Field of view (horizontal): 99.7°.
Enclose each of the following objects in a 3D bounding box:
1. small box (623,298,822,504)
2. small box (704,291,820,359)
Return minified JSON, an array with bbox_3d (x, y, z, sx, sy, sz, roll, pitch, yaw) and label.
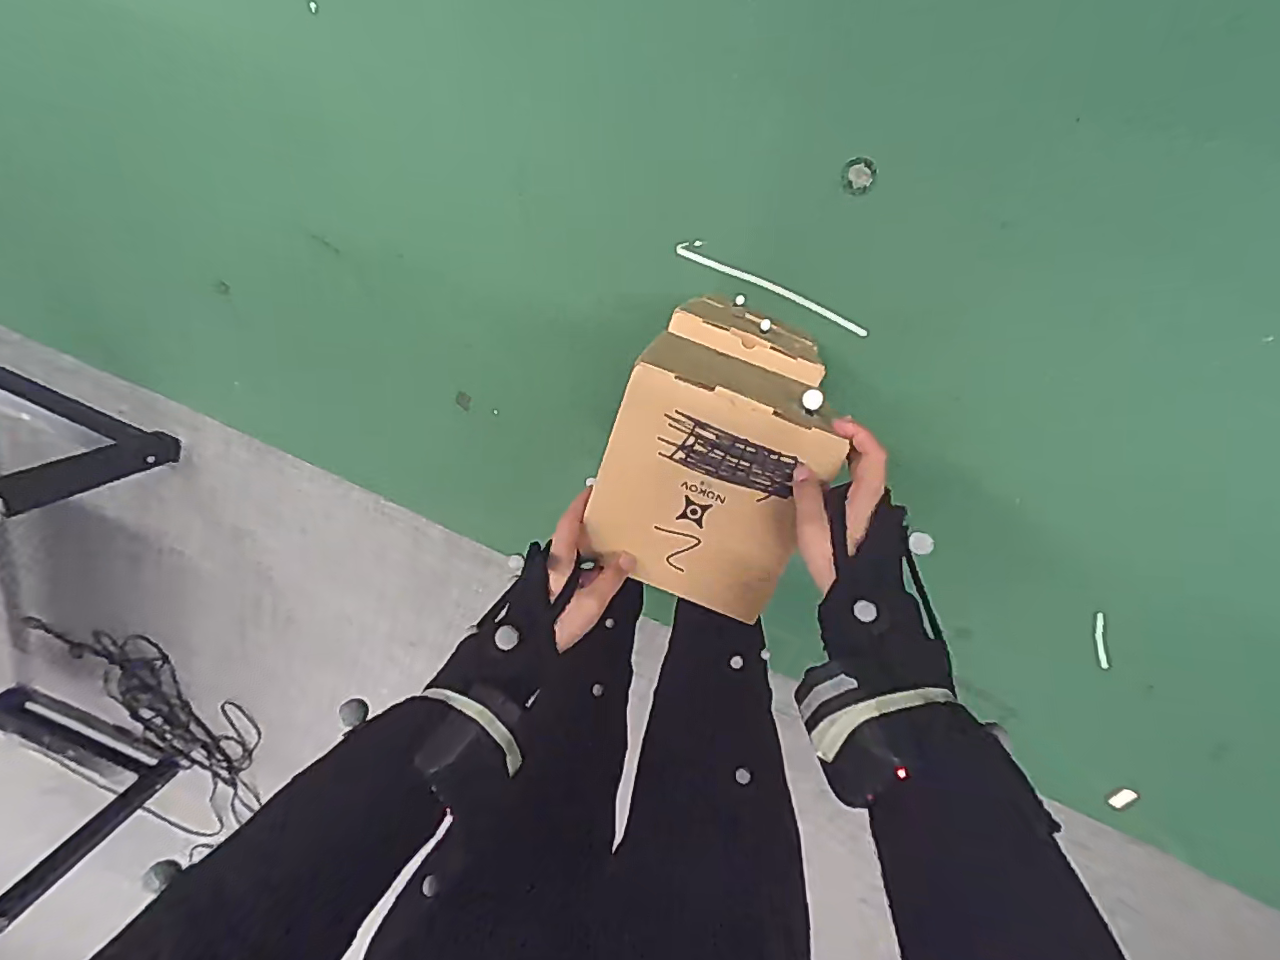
[{"bbox_3d":[0.100,-0.104,0.653,0.168,0.176,0.179,23,114,3],"label":"small box"},{"bbox_3d":[0.142,-0.166,0.798,0.168,0.176,0.179,24,116,3],"label":"small box"}]
